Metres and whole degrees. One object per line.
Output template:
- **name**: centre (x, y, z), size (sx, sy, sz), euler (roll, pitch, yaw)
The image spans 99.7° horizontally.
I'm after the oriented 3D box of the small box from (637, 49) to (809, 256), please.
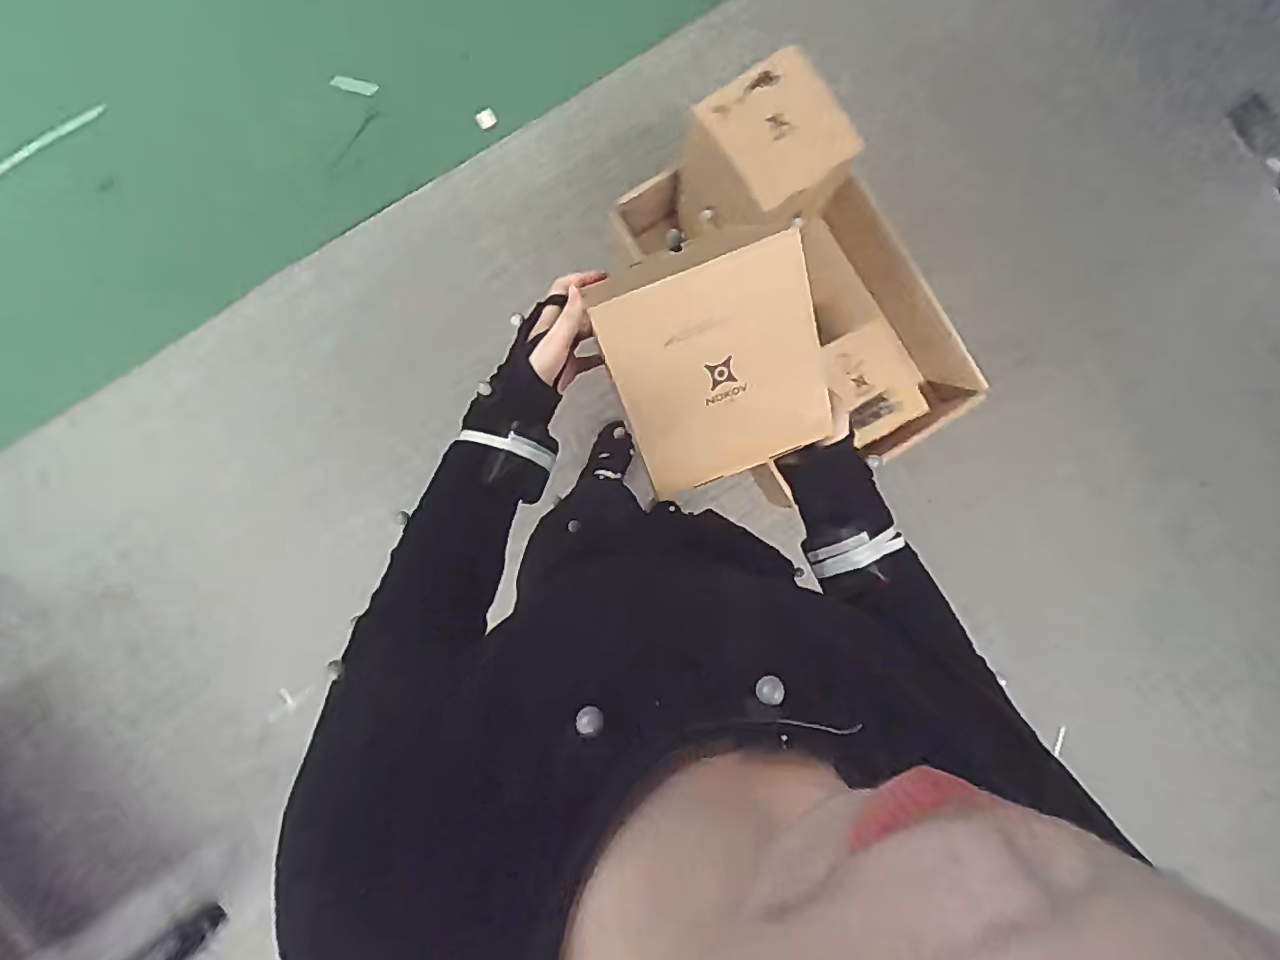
- **small box**: centre (0.112, -0.464, 0.805), size (0.168, 0.176, 0.179), euler (-40, 90, -3)
